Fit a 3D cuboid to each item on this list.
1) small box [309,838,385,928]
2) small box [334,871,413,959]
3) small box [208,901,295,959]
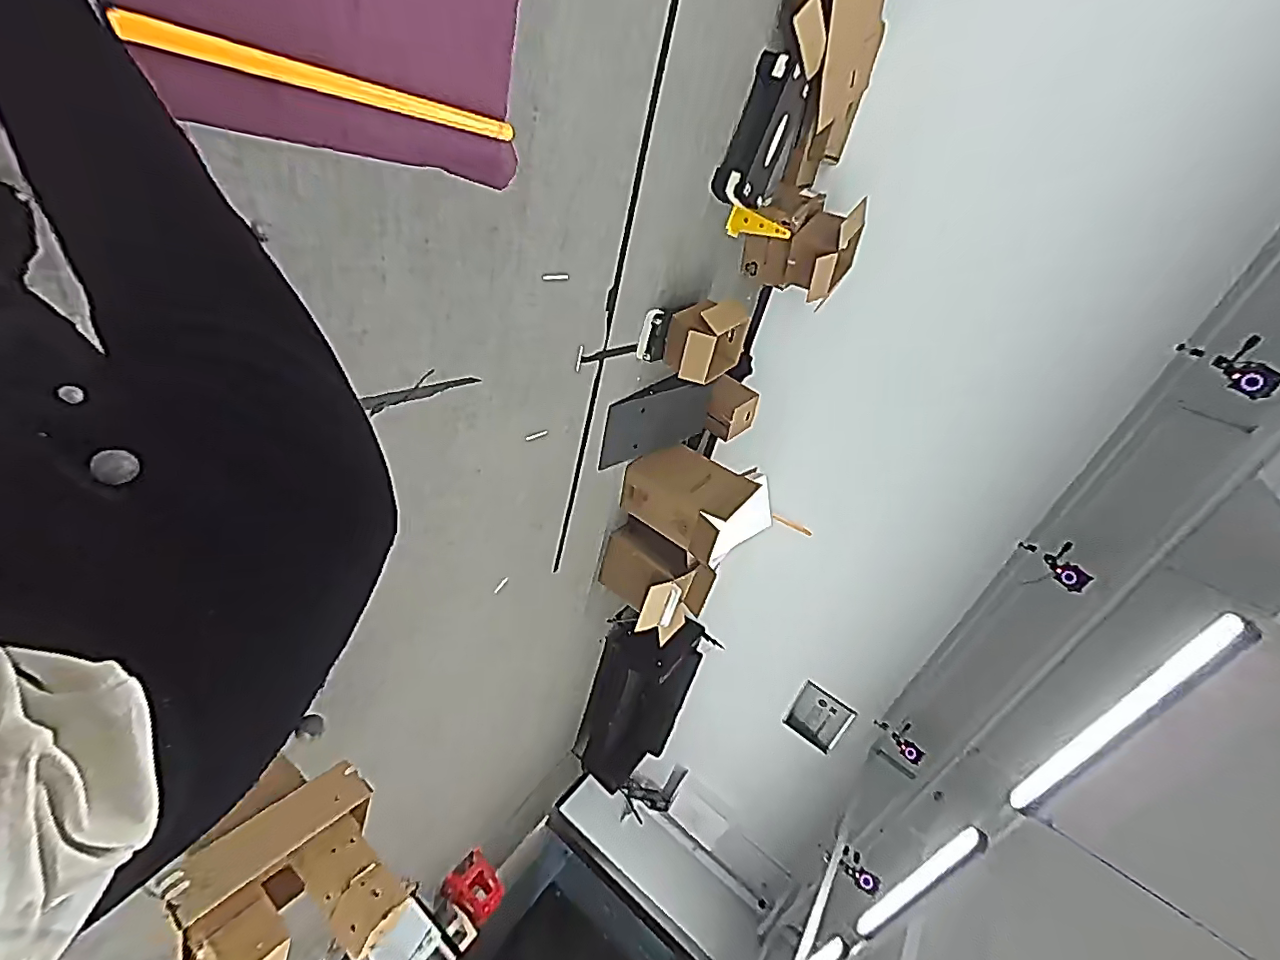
[{"bbox_3d":[-1.074,1.462,1.979,0.168,0.176,0.179,-9,128,-61],"label":"small box"},{"bbox_3d":[-0.945,1.538,1.911,0.168,0.176,0.179,-1,120,-63],"label":"small box"},{"bbox_3d":[-1.236,1.504,1.709,0.179,0.176,0.168,-18,135,-58],"label":"small box"}]
